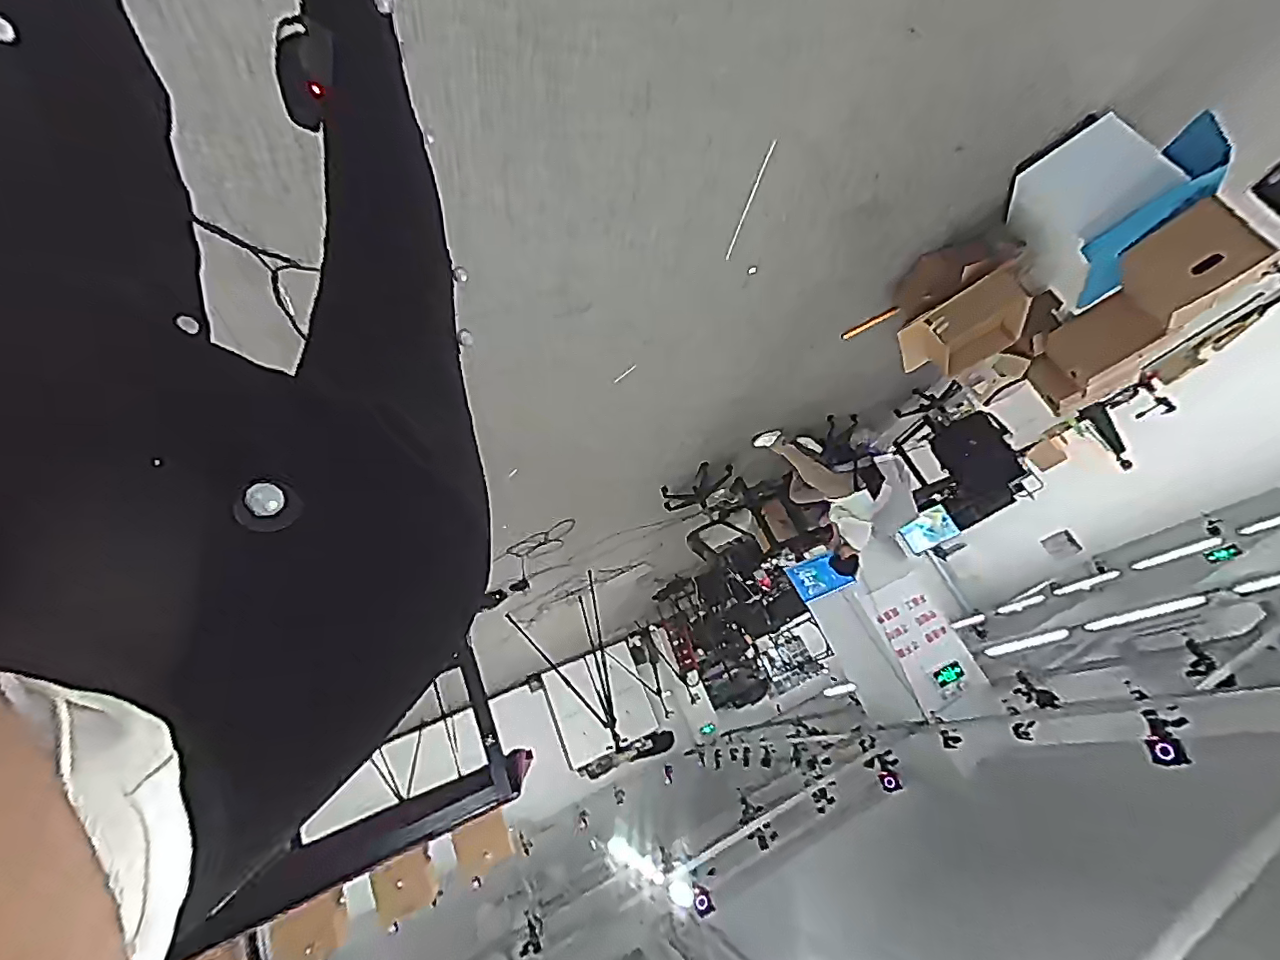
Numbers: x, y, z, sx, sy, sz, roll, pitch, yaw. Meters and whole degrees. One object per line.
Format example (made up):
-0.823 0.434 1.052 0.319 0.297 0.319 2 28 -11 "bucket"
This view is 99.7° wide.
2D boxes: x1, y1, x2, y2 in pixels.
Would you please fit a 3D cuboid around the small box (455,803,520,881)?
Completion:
-0.533 1.255 1.894 0.179 0.176 0.168 -17 158 -20 "small box"

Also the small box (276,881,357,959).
-1.017 1.407 1.698 0.179 0.176 0.168 -19 159 -22 "small box"

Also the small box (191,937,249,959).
-1.269 1.487 1.586 0.179 0.176 0.168 -17 156 -25 "small box"

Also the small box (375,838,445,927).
-0.765 1.329 1.801 0.168 0.176 0.179 -18 159 -21 "small box"
